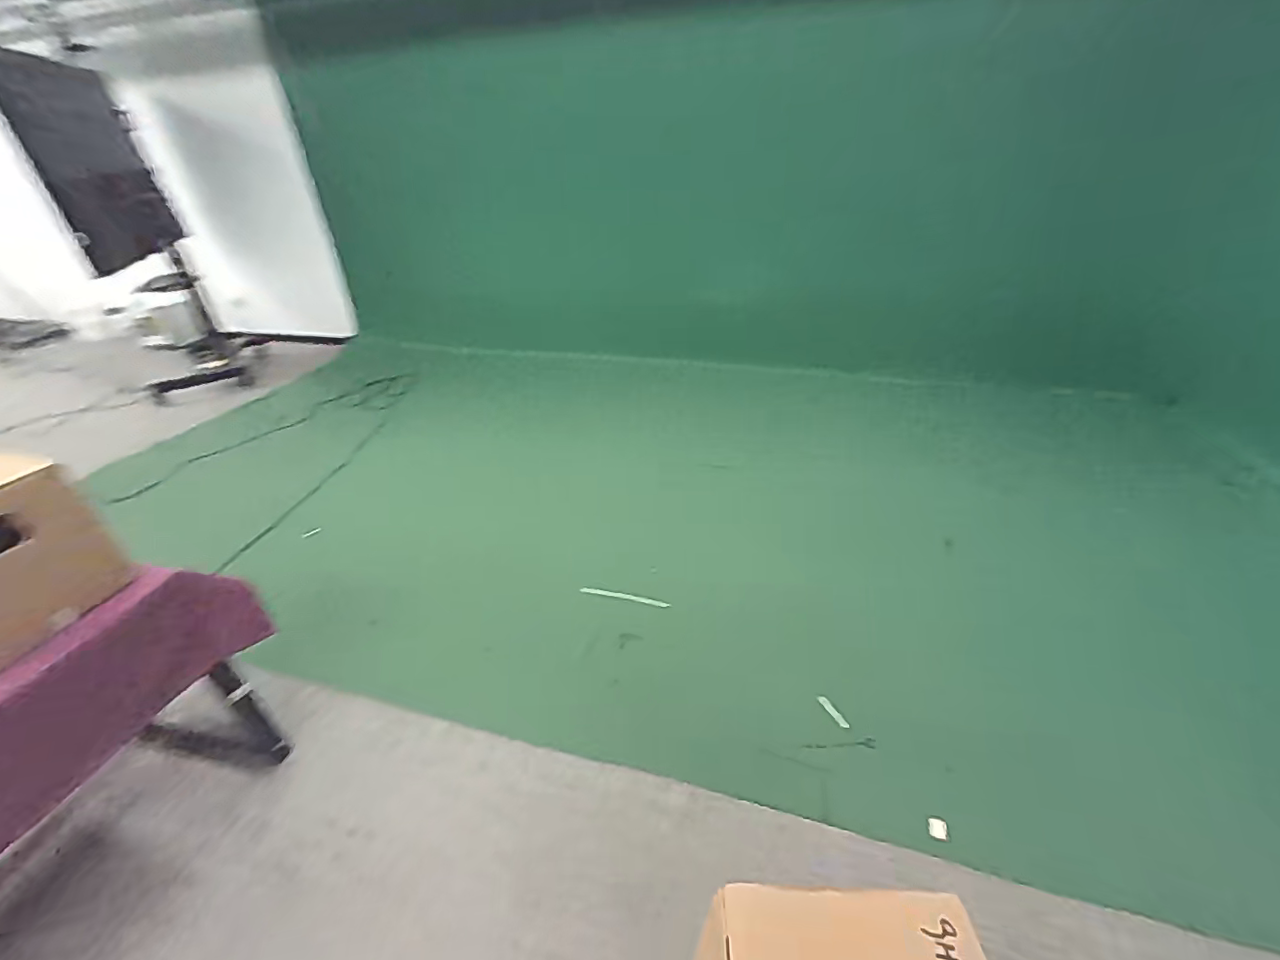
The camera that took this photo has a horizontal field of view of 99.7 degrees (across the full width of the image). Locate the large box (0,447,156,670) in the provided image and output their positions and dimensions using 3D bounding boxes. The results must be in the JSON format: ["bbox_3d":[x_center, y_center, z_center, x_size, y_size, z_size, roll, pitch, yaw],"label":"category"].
[{"bbox_3d":[-1.370,0.141,1.125,0.408,0.320,0.320,8,34,15],"label":"large box"}]
